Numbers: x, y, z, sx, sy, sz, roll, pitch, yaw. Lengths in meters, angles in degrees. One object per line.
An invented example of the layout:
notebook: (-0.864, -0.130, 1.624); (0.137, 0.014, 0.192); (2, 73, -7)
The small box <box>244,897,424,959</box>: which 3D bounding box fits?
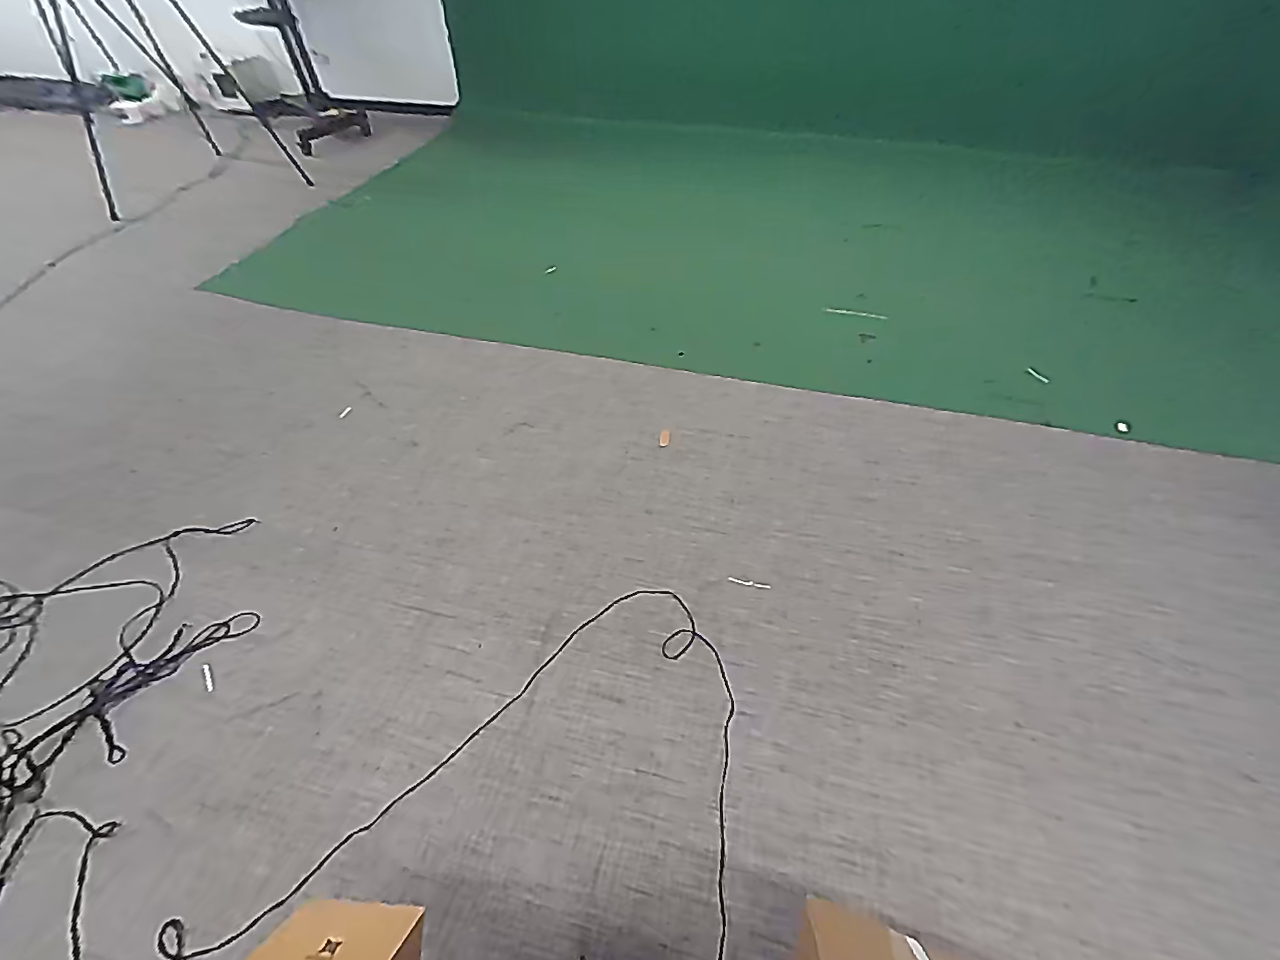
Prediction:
small box: (-0.380, 0.645, 0.640); (0.168, 0.179, 0.176); (2, 83, 3)
